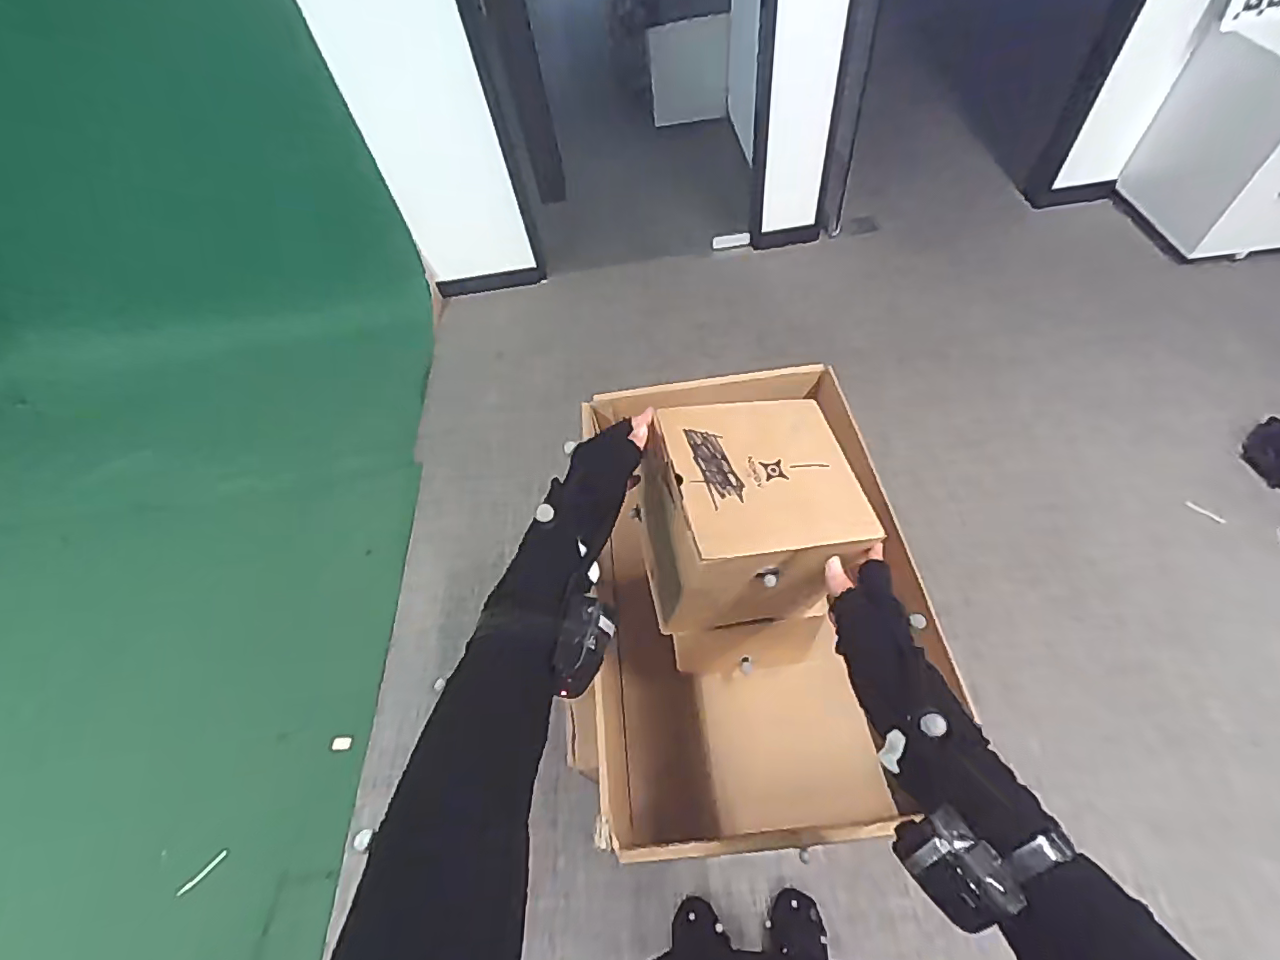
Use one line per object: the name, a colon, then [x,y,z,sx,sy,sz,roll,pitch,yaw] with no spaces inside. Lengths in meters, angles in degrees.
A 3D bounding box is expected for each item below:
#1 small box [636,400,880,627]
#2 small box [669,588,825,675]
small box: [0.098,0.037,0.556,0.179,0.176,0.168,-5,56,-15]
small box: [0.121,0.145,0.715,0.179,0.176,0.168,-8,53,1]
